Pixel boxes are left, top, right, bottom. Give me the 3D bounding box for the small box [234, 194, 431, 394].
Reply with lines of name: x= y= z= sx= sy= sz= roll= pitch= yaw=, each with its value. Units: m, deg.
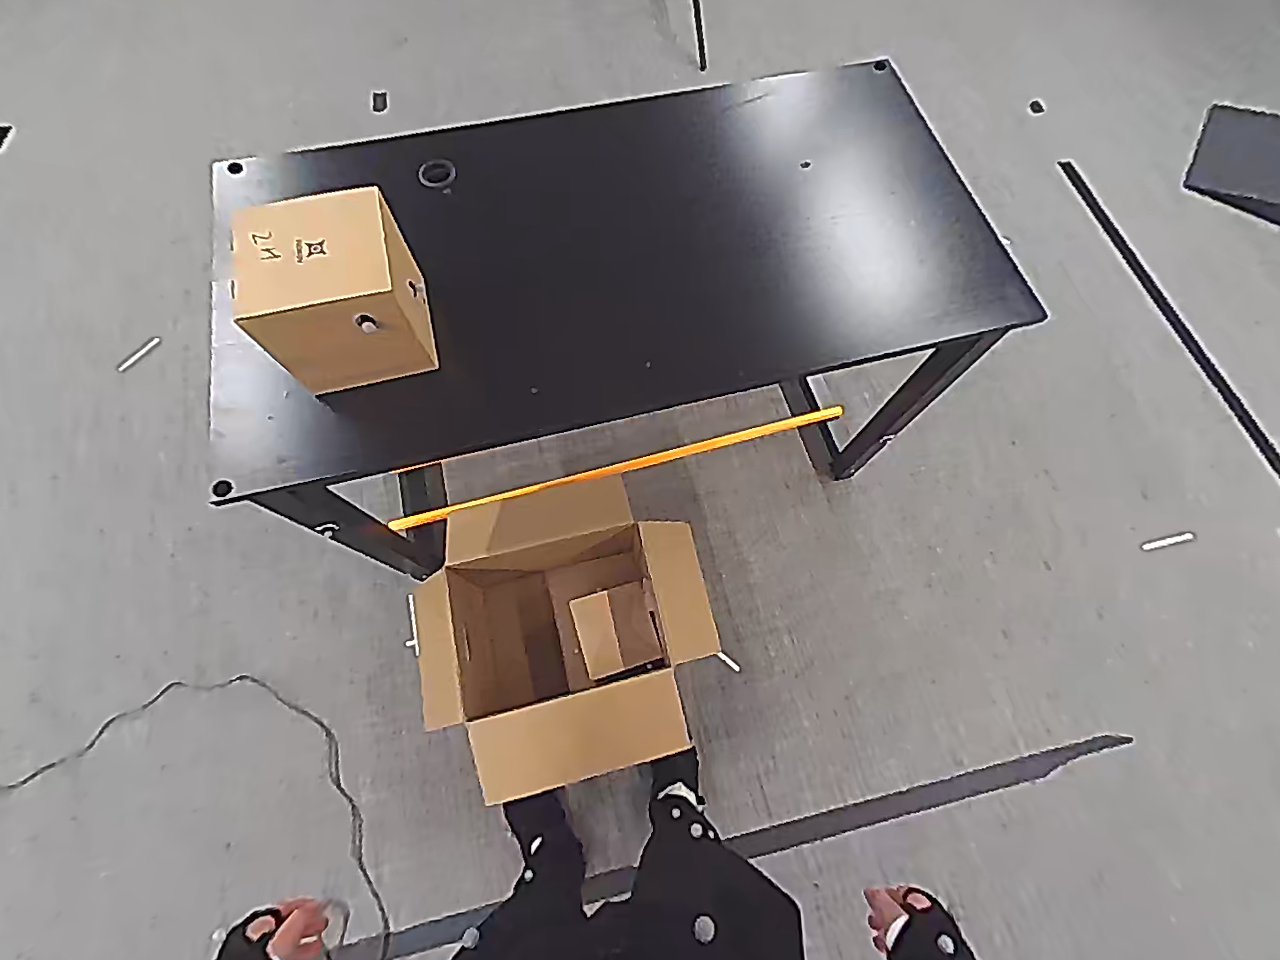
small box: x=-0.388 y=-0.235 z=0.710 sx=0.179 sy=0.176 sz=0.168 roll=-14 pitch=70 yaw=-7
